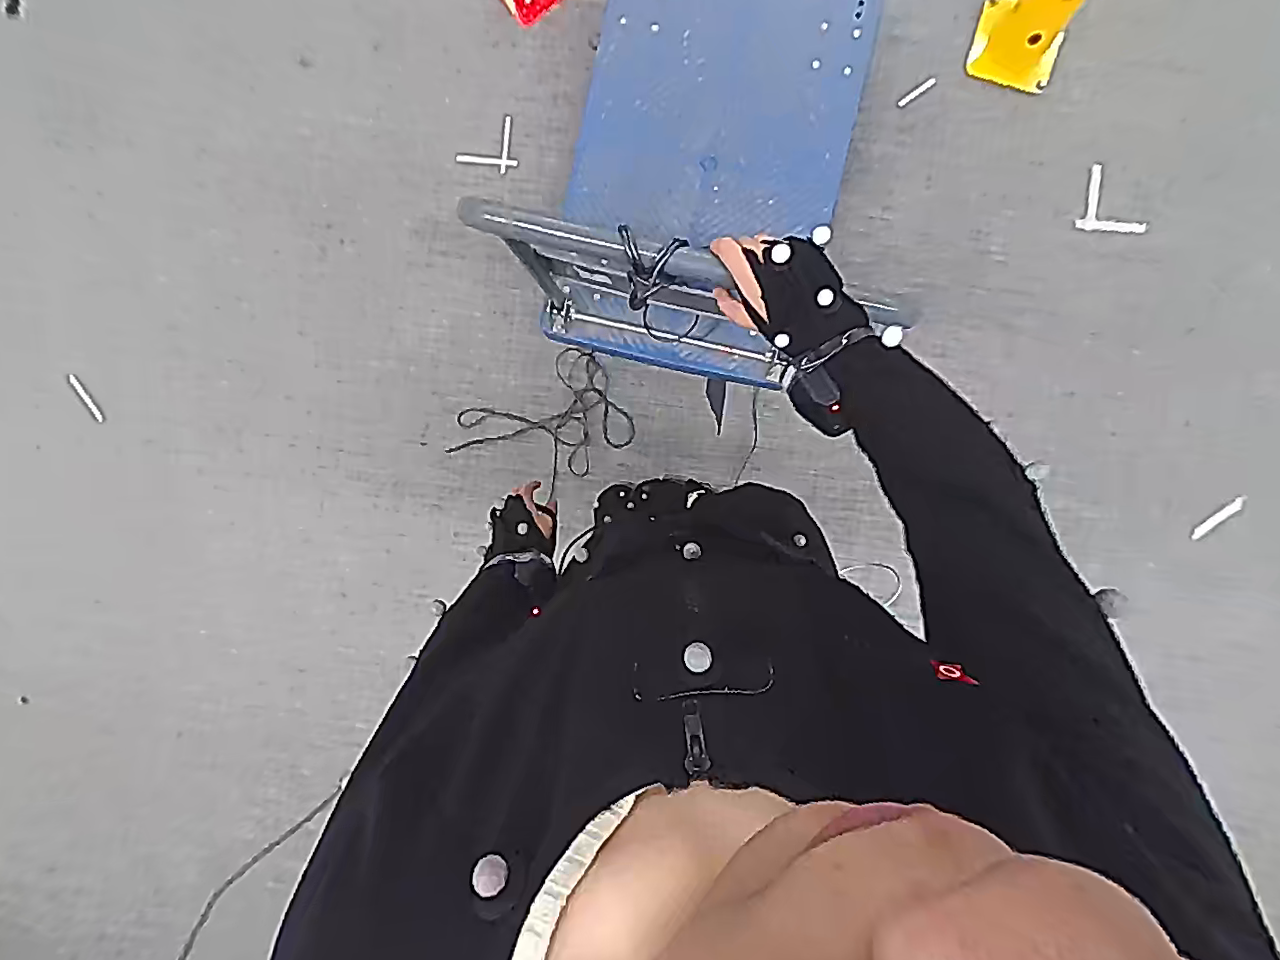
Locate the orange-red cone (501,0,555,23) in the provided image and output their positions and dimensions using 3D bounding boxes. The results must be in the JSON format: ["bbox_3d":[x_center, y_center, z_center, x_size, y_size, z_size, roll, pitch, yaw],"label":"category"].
[{"bbox_3d":[-0.268,-1.225,1.134,0.199,0.360,0.198,-38,93,1],"label":"orange-red cone"}]
